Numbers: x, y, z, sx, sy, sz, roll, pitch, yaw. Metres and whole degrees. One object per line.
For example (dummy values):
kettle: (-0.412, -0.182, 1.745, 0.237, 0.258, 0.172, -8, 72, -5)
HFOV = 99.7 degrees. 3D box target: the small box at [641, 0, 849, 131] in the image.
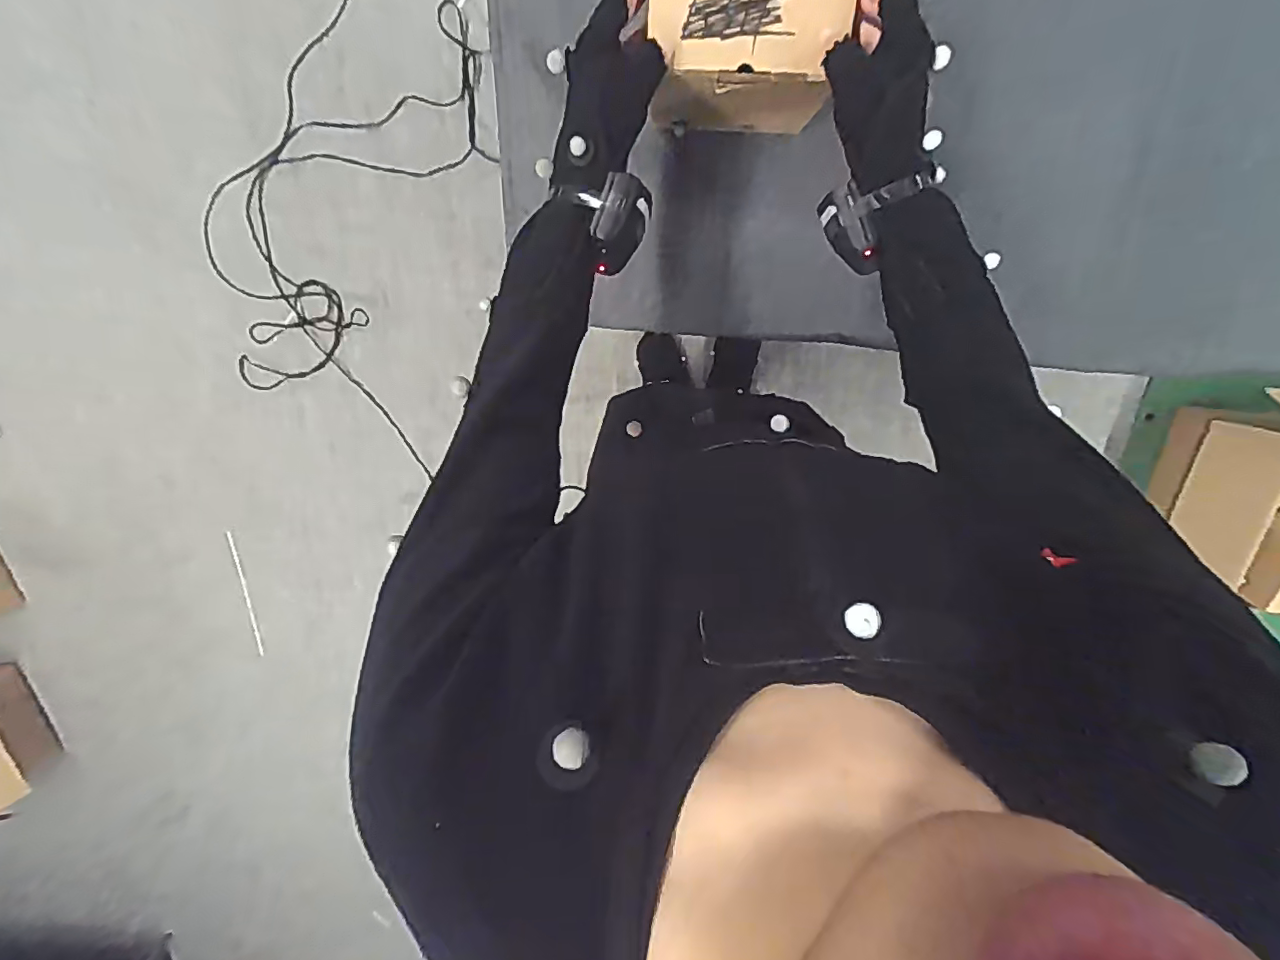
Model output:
small box: (0.091, -0.440, 0.494, 0.168, 0.176, 0.179, 3, 109, 2)
